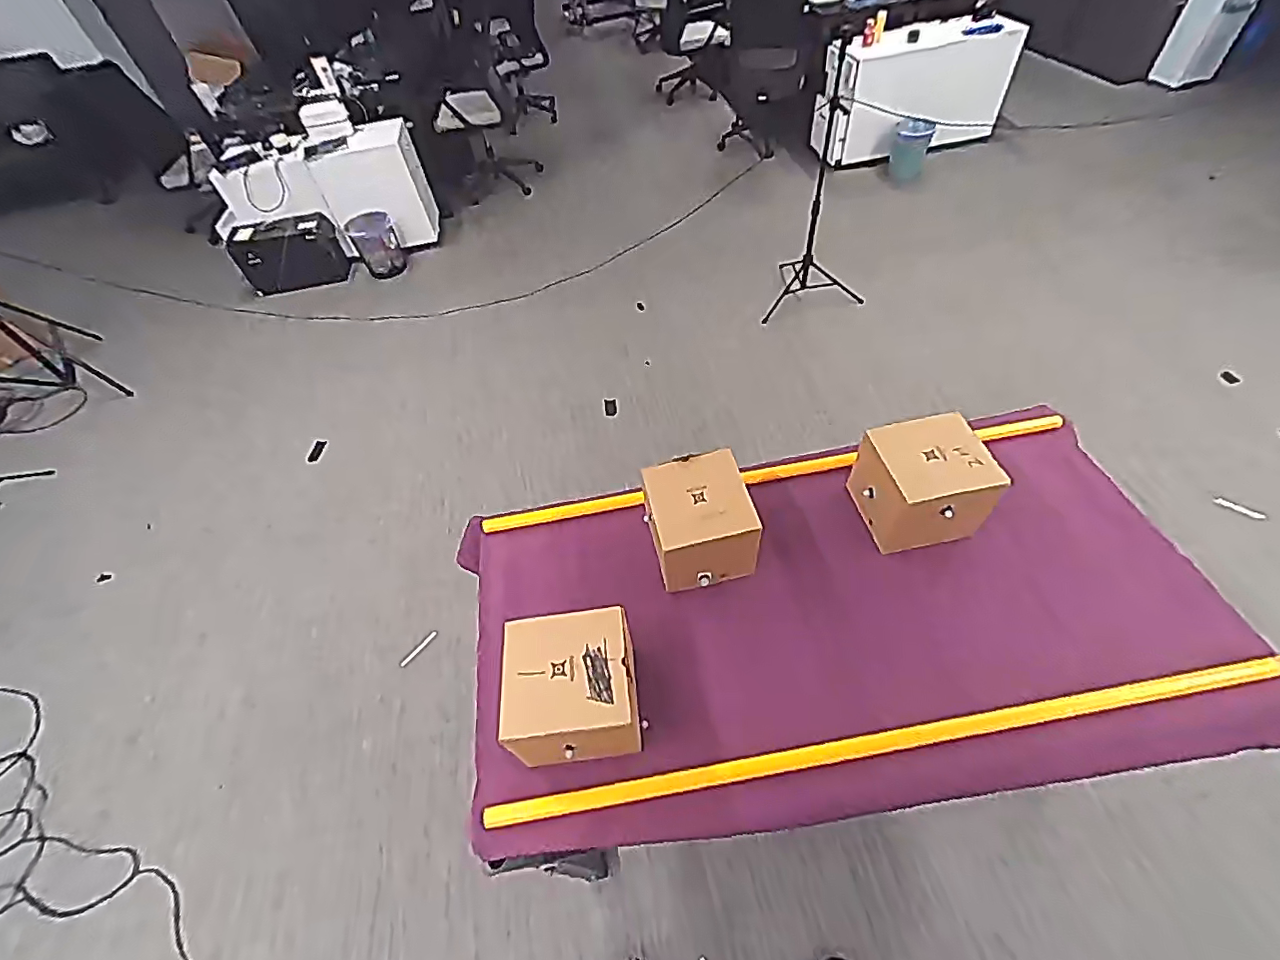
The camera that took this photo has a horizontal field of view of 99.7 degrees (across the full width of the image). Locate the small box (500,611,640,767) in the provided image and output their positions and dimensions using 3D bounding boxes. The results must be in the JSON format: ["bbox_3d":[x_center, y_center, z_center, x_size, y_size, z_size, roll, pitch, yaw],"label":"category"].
[{"bbox_3d":[-0.095,0.312,0.802,0.179,0.176,0.168,-8,51,0],"label":"small box"}]

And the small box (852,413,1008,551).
[{"bbox_3d":[0.500,0.009,0.970,0.179,0.176,0.168,-11,53,-2],"label":"small box"}]

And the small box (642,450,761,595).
[{"bbox_3d":[0.105,0.078,0.967,0.168,0.176,0.179,-14,52,-3],"label":"small box"}]
